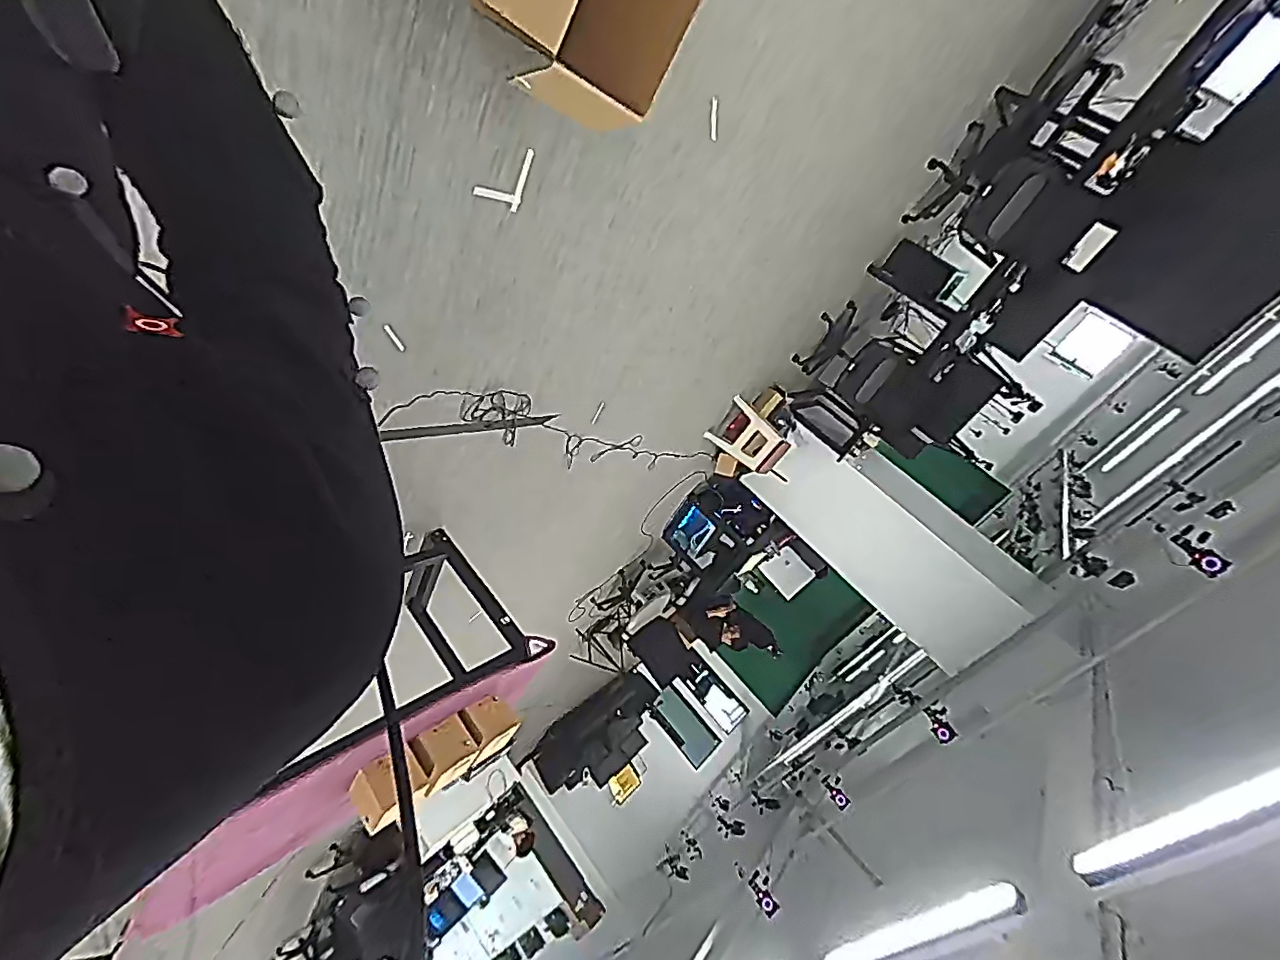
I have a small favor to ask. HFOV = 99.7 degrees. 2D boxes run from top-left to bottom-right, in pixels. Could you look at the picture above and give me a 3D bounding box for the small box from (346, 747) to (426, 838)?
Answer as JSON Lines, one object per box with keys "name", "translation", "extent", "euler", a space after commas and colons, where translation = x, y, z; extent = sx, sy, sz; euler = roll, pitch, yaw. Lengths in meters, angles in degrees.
{"name": "small box", "translation": [-0.857, 1.042, 1.816], "extent": [0.168, 0.176, 0.179], "euler": [-14, 144, -54]}
